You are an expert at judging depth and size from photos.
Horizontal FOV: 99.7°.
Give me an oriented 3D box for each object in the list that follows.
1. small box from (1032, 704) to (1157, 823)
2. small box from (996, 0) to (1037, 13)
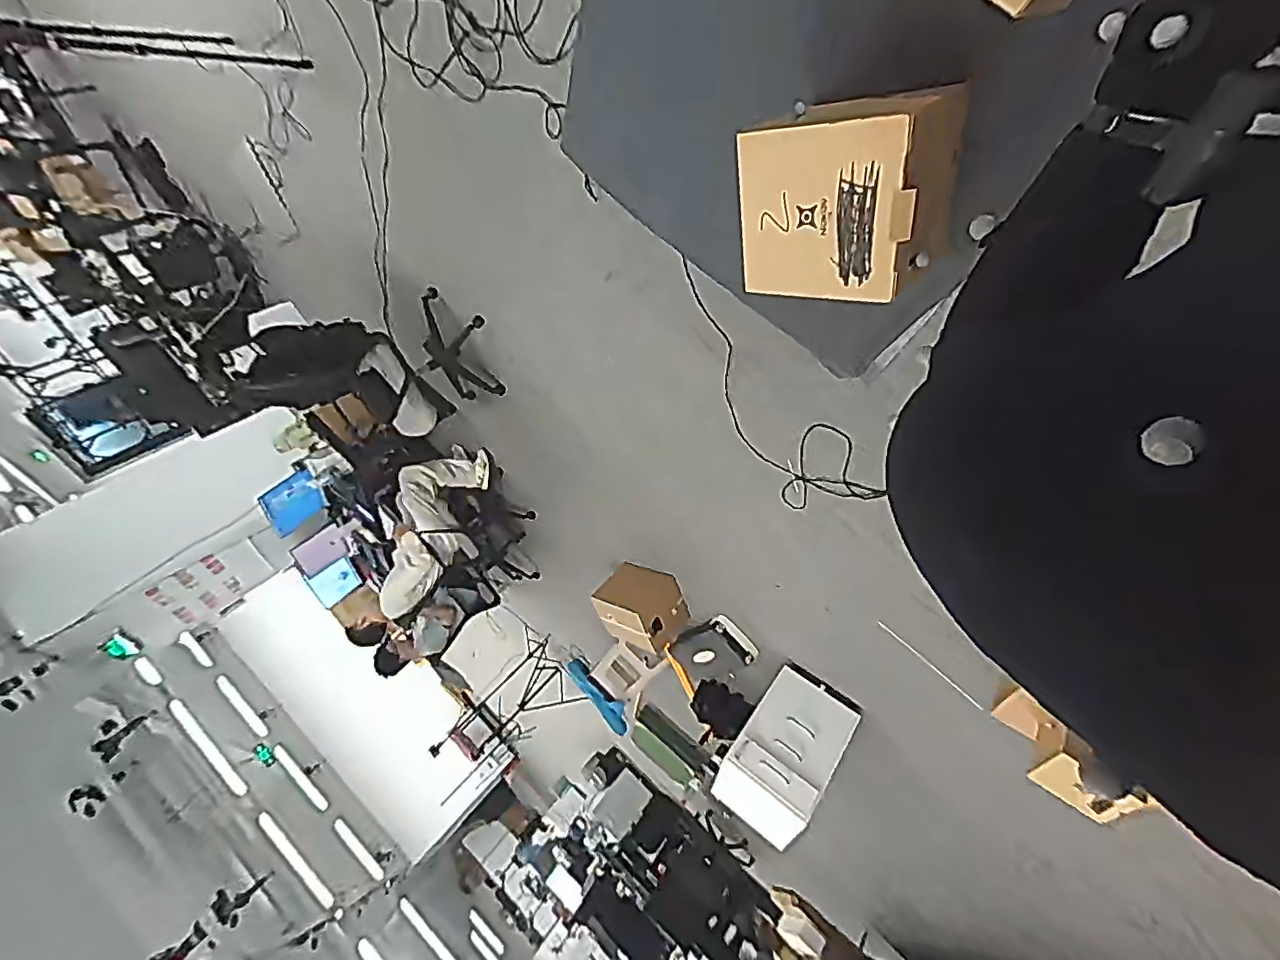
[{"bbox_3d":[1.129,0.699,1.342,0.179,0.176,0.168,31,141,26],"label":"small box"},{"bbox_3d":[0.292,-0.473,0.378,0.179,0.176,0.168,45,147,9],"label":"small box"}]
